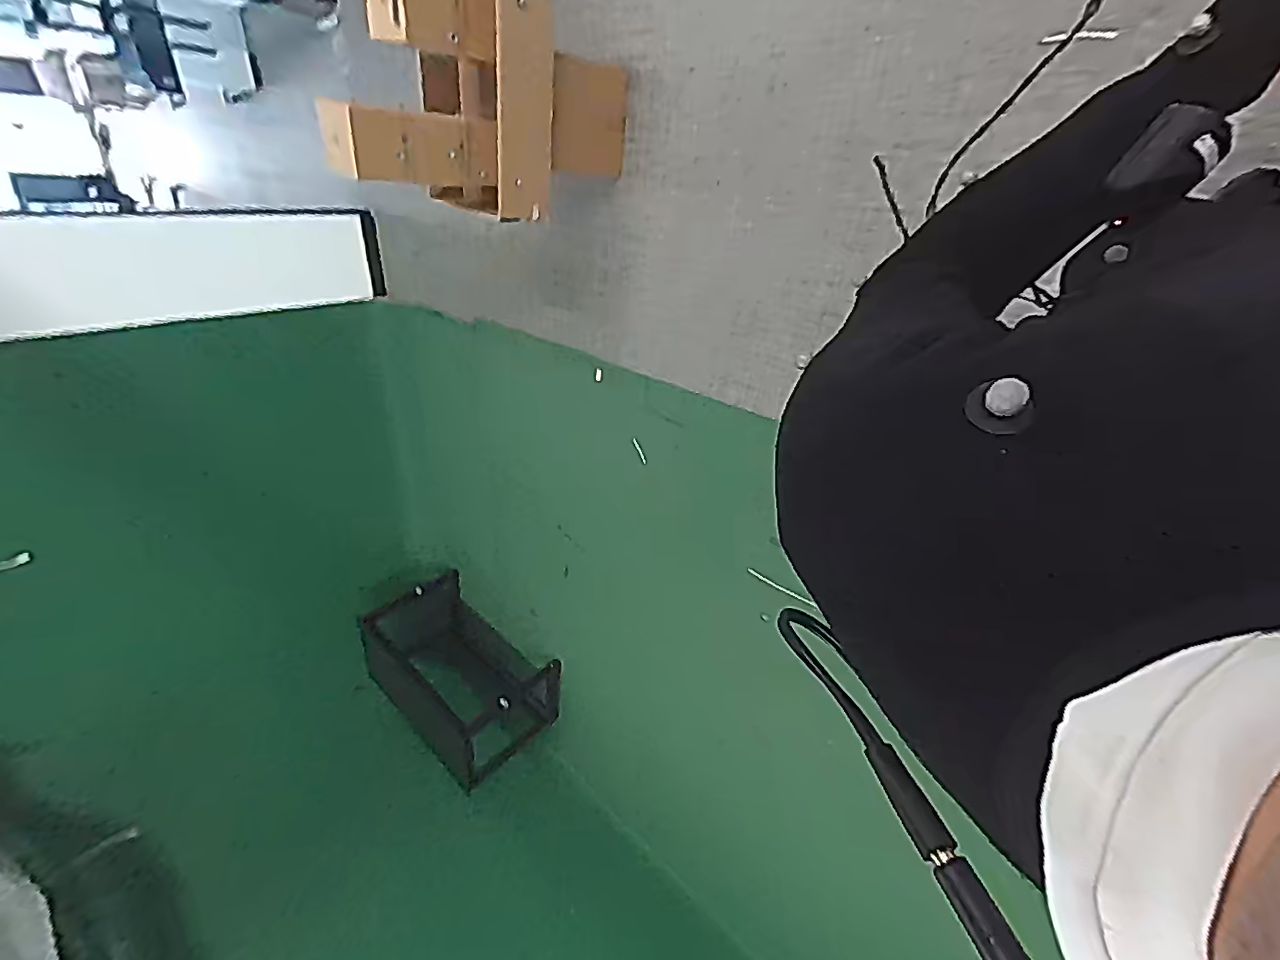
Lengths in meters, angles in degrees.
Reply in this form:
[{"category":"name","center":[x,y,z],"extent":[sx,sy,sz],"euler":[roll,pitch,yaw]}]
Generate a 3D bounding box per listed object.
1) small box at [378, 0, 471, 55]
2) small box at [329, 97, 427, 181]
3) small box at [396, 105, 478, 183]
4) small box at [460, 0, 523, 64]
[{"category":"small box","center":[-0.549,-1.214,1.388],"extent":[0.179,0.176,0.168],"euler":[32,129,30]},{"category":"small box","center":[-0.694,-0.904,1.442],"extent":[0.179,0.176,0.168],"euler":[32,130,30]},{"category":"small box","center":[-0.587,-0.959,1.553],"extent":[0.179,0.176,0.168],"euler":[32,130,29]},{"category":"small box","center":[-0.446,-1.274,1.502],"extent":[0.179,0.176,0.168],"euler":[30,128,30]}]
